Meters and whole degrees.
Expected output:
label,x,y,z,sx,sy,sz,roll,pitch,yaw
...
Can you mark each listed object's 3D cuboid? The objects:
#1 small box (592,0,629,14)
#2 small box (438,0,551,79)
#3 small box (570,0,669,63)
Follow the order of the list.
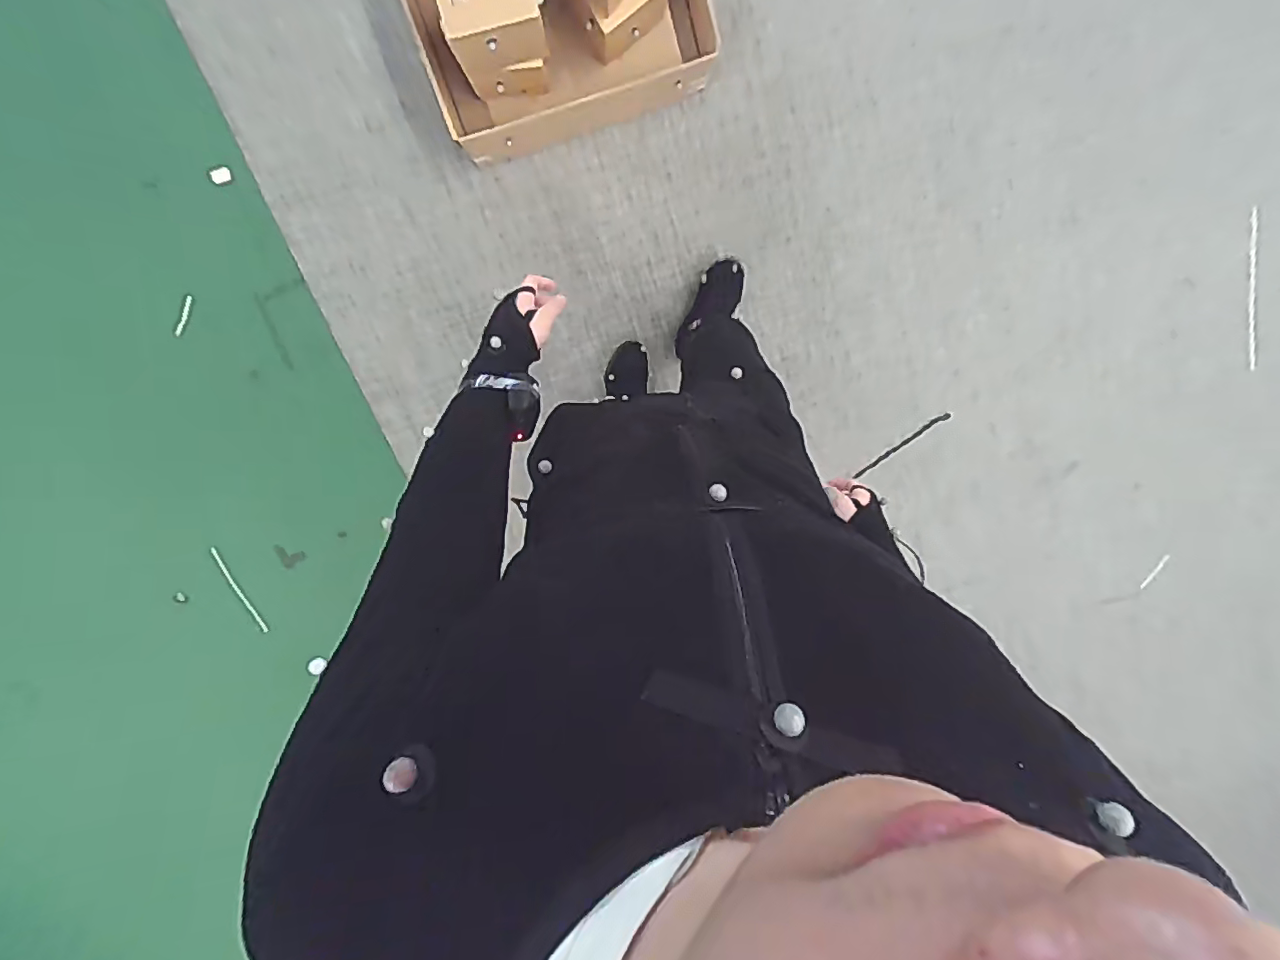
label,x,y,z,sx,sy,sz,roll,pitch,yaw
small box,-0.055,-1.015,0.991,0.168,0.176,0.179,-43,105,10
small box,-0.278,-0.895,1.017,0.179,0.176,0.168,-14,108,0
small box,-0.046,-1.041,1.155,0.168,0.176,0.179,-33,107,8
